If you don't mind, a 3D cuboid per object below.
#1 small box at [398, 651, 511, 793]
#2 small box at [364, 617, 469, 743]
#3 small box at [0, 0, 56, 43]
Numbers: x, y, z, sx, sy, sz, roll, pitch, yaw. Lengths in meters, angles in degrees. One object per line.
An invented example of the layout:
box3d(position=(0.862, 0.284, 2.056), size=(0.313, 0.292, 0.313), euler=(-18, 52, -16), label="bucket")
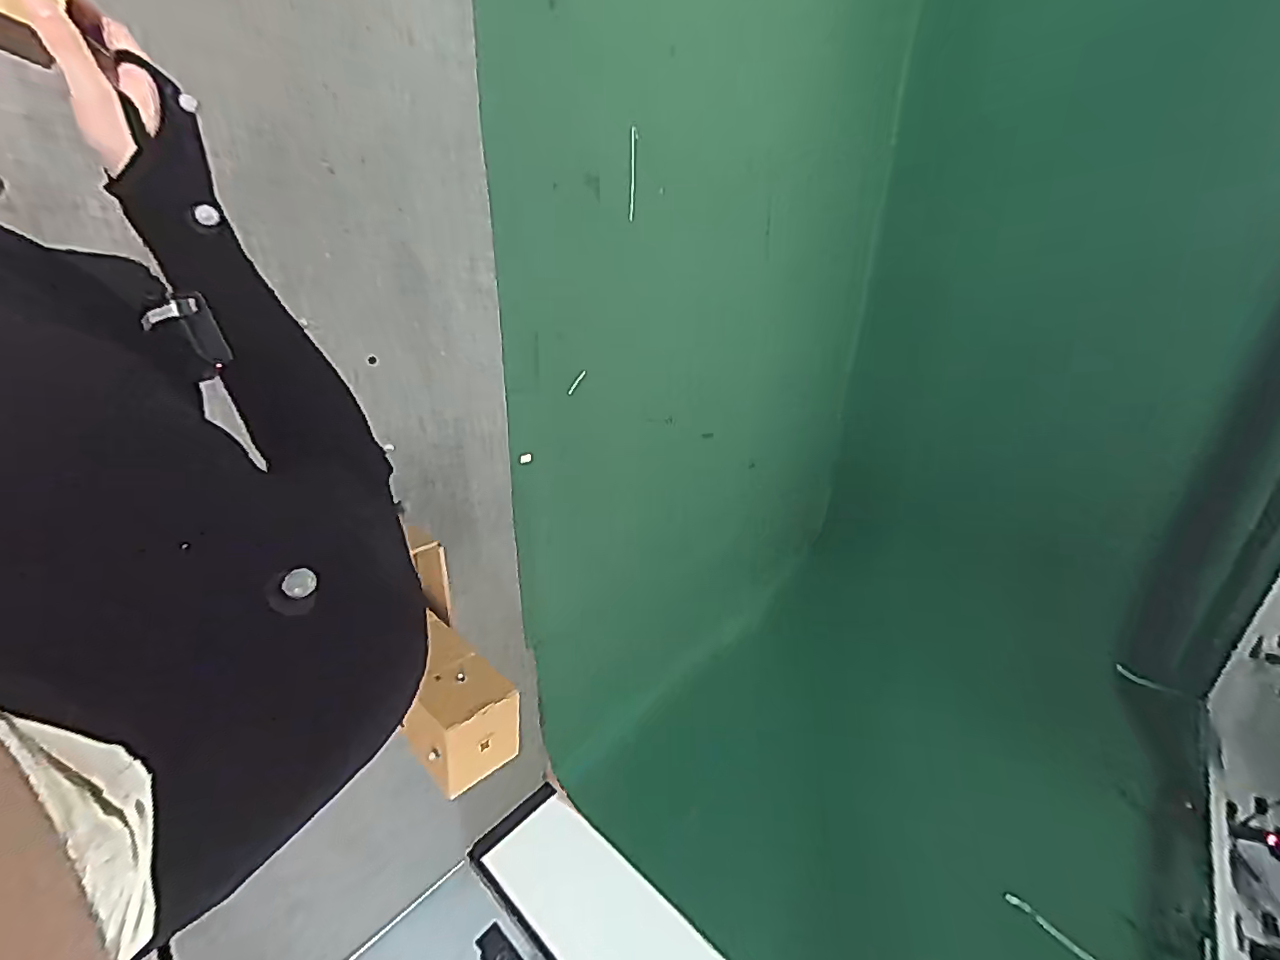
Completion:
box3d(position=(-0.391, 0.498, 1.138), size=(0.168, 0.176, 0.179), euler=(-17, 119, -46), label="small box")
box3d(position=(-0.509, 0.448, 1.238), size=(0.168, 0.176, 0.179), euler=(-19, 121, -46), label="small box")
box3d(position=(-0.479, -0.419, 0.331), size=(0.168, 0.176, 0.179), euler=(3, 109, -51), label="small box")
